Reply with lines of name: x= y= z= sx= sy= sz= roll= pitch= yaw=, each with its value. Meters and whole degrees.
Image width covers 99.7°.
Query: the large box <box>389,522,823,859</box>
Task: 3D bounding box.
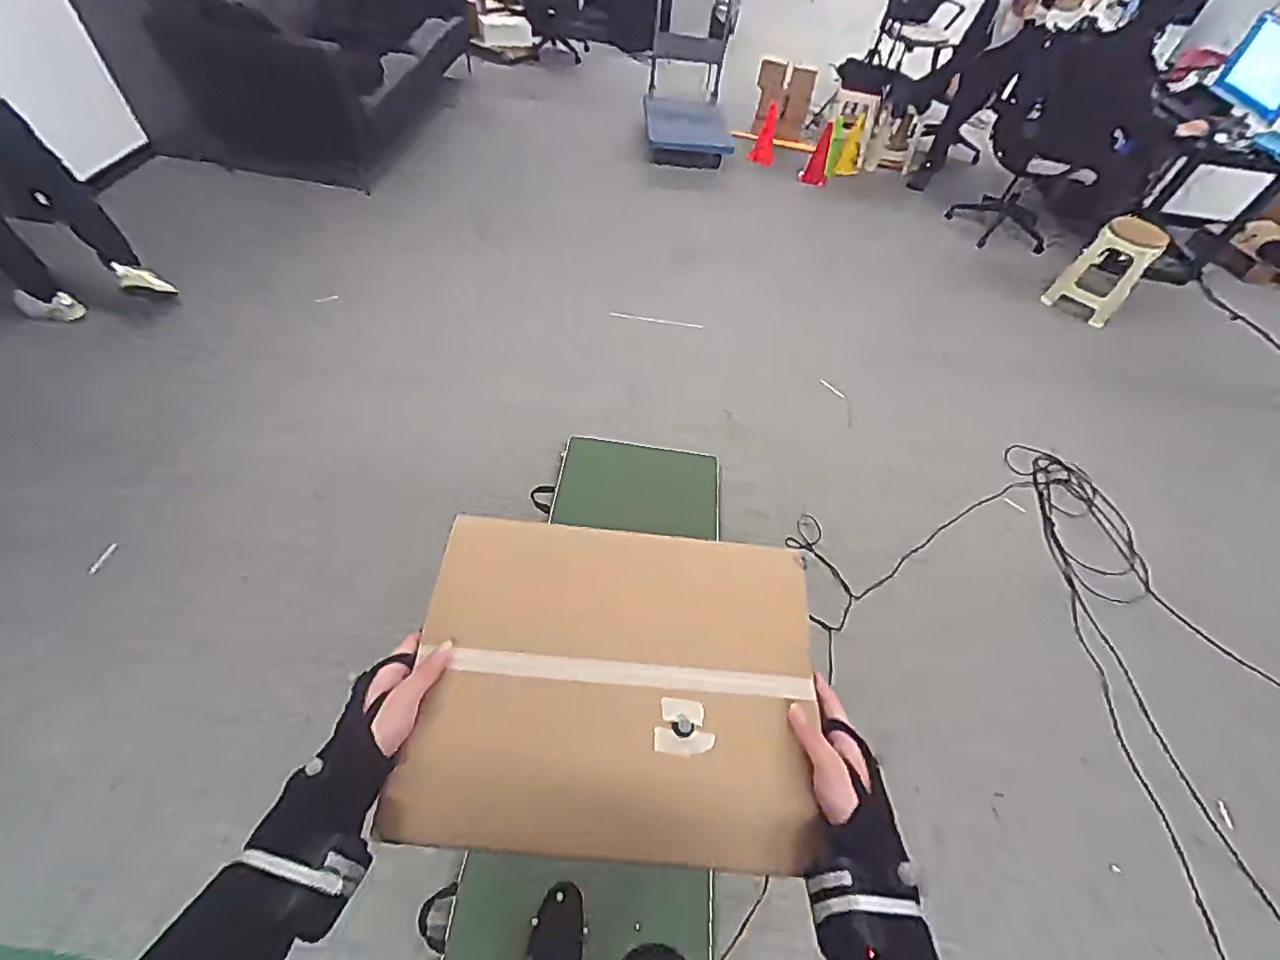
large box: x=-0.034 y=0.272 z=0.688 sx=0.408 sy=0.320 sz=0.320 roll=6 pitch=60 yaw=-3
